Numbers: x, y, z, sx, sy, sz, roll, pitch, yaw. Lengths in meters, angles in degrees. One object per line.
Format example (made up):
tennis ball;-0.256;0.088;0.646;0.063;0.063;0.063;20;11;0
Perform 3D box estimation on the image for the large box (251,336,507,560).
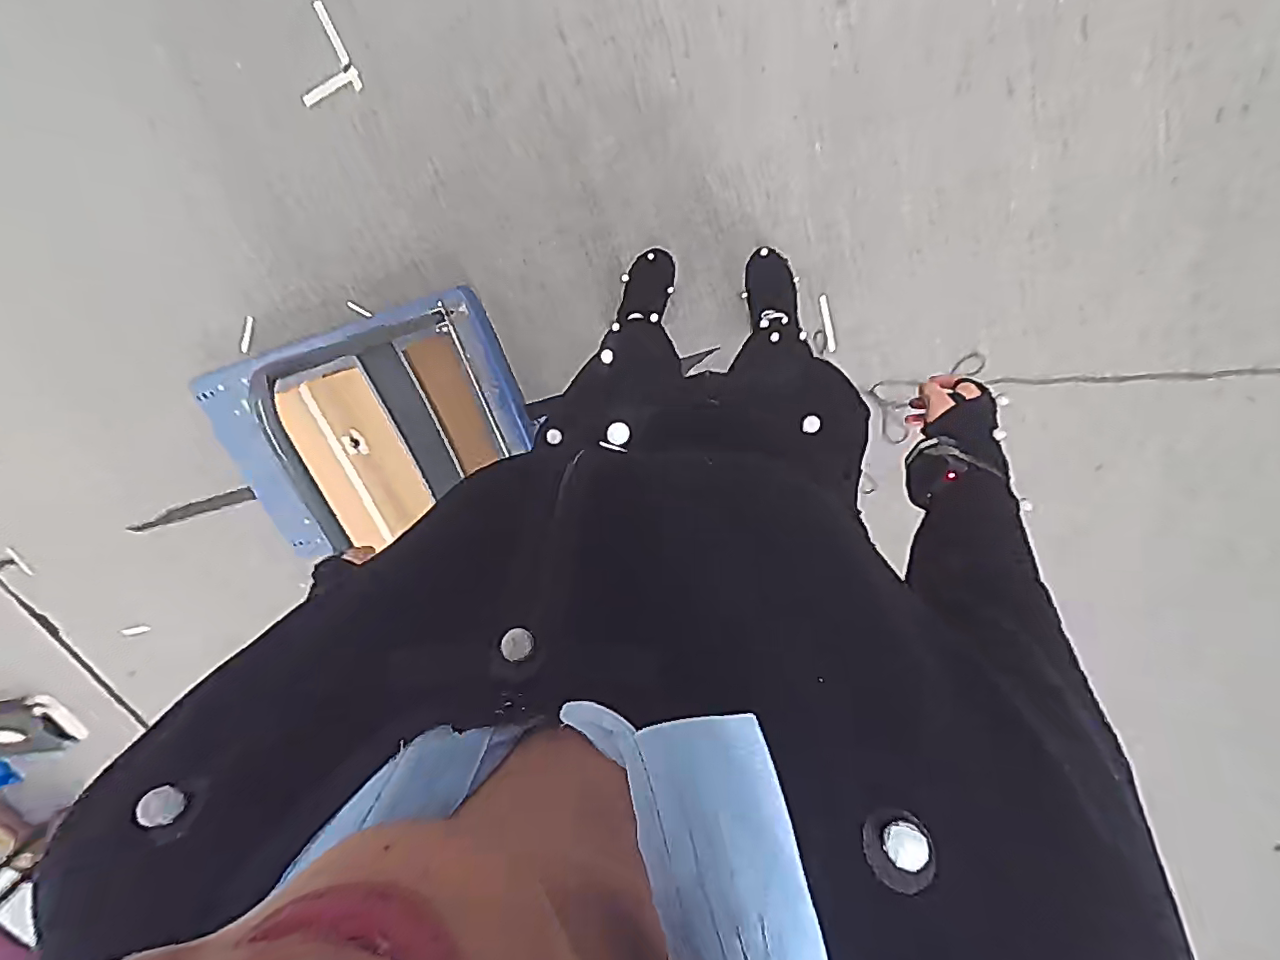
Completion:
large box;-0.570;-0.081;1.268;0.320;0.320;0.408;-13;112;14
